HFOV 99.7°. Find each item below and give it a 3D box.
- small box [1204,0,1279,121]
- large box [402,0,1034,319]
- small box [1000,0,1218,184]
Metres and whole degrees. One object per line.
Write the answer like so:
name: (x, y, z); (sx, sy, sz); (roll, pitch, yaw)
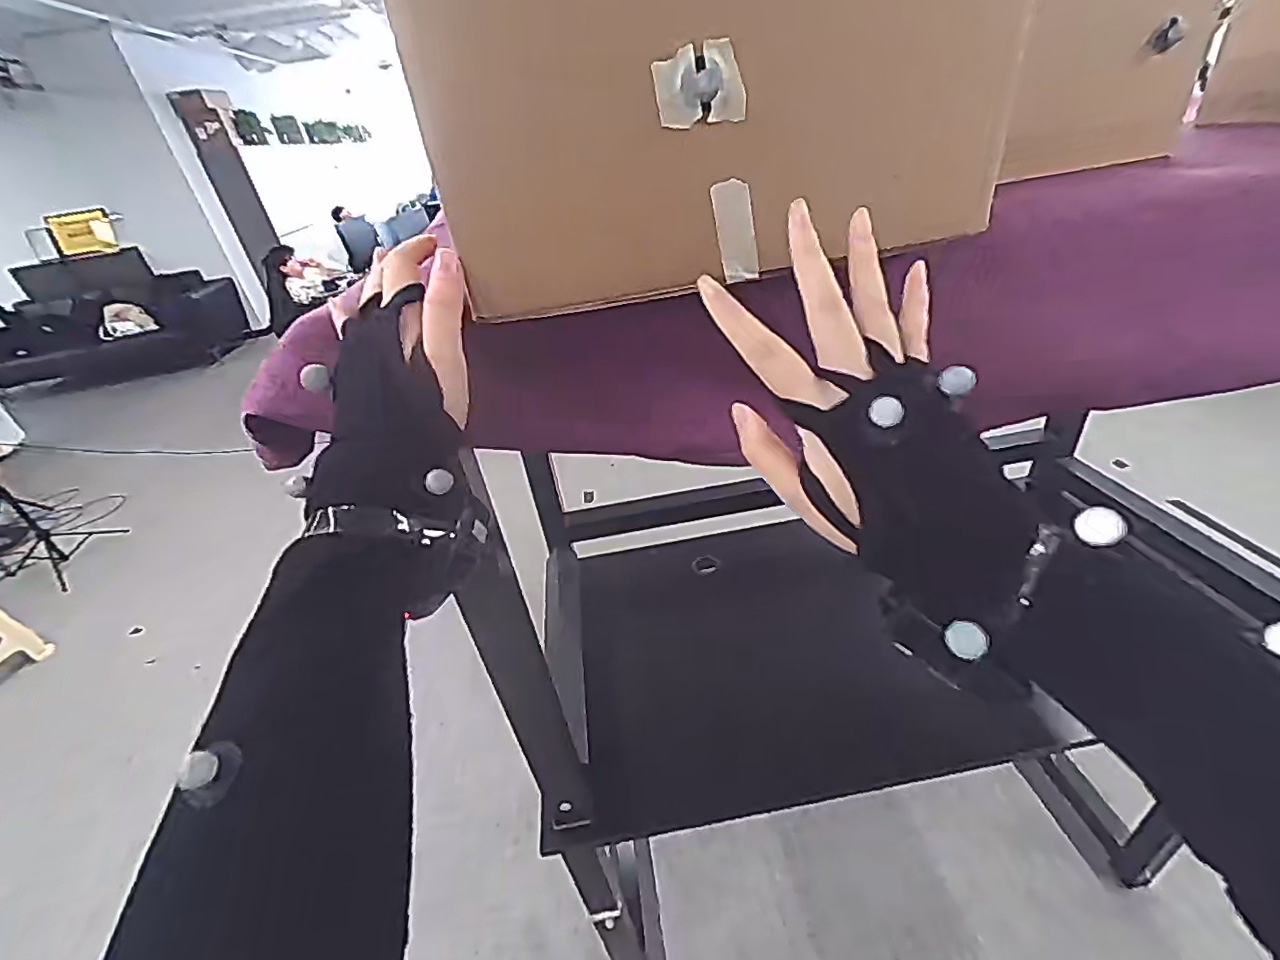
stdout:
small box: (0.711, -0.445, 0.505); (0.179, 0.176, 0.168); (-9, 32, -1)
large box: (0.007, -0.339, 0.394); (0.320, 0.320, 0.408); (-11, 32, -5)
small box: (0.361, -0.380, 0.495); (0.179, 0.176, 0.168); (-11, 32, -2)
